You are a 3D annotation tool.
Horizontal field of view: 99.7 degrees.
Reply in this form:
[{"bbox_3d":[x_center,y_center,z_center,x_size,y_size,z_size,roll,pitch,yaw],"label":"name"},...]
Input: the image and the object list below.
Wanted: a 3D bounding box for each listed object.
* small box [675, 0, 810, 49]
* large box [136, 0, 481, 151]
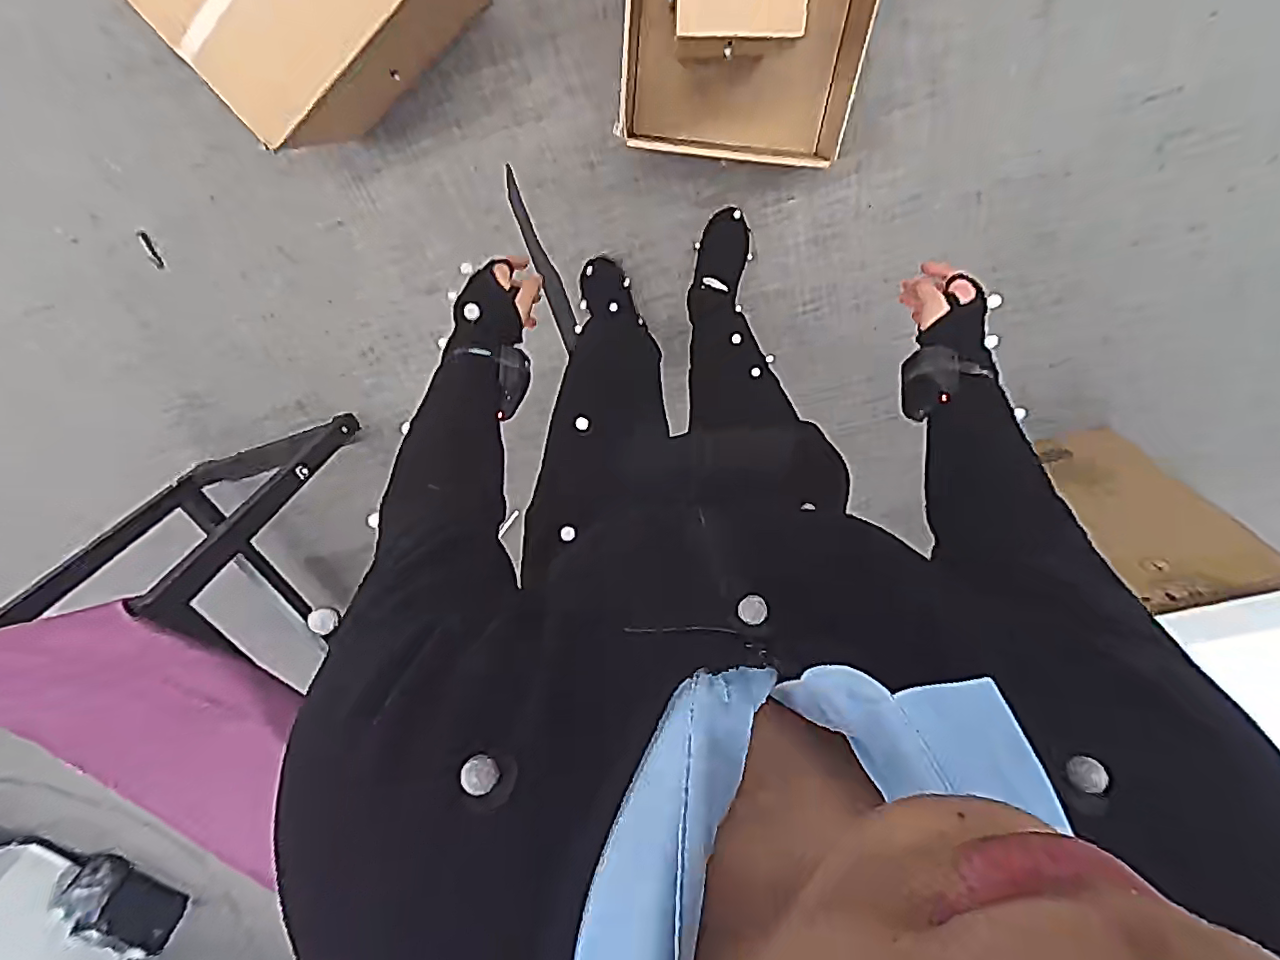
[{"bbox_3d":[0.139,-0.709,0.744,0.179,0.176,0.168,2,123,1],"label":"small box"},{"bbox_3d":[-0.523,-0.827,0.879,0.408,0.320,0.320,-29,117,22],"label":"large box"}]
